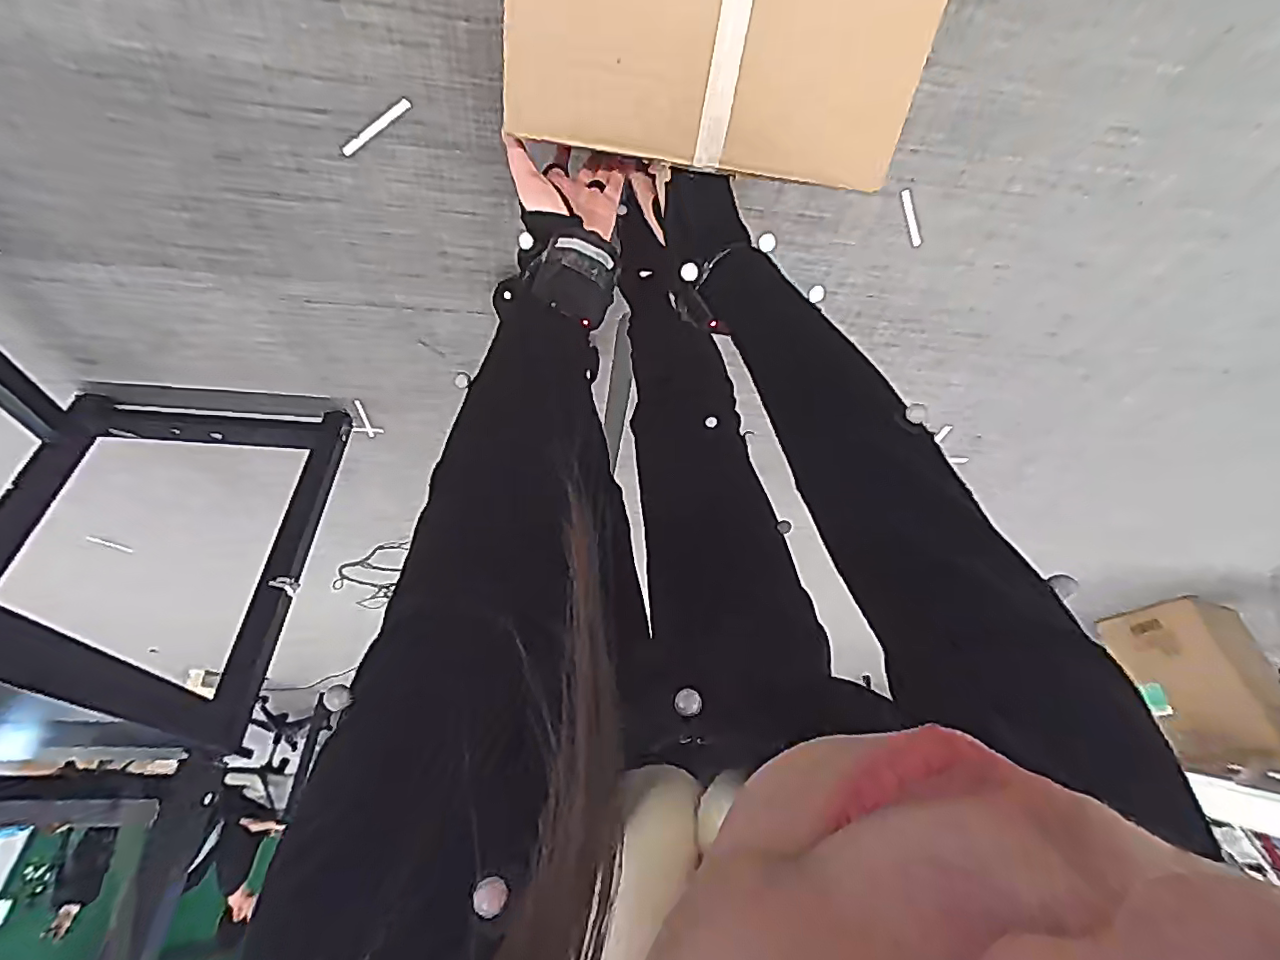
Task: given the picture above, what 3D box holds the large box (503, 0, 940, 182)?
[{"bbox_3d":[0.062,-0.503,0.445,0.320,0.320,0.408,3,124,-10],"label":"large box"}]
